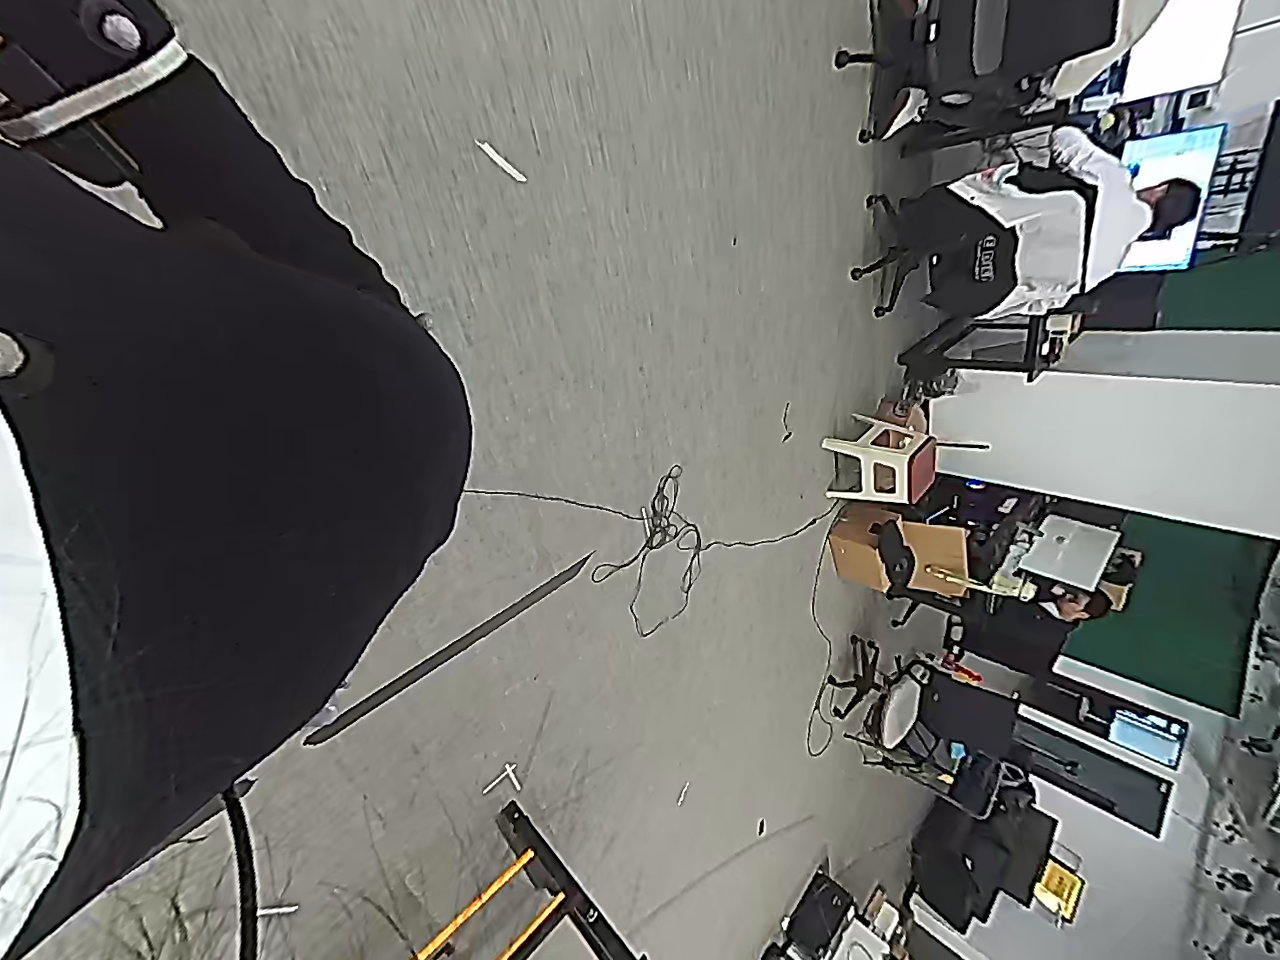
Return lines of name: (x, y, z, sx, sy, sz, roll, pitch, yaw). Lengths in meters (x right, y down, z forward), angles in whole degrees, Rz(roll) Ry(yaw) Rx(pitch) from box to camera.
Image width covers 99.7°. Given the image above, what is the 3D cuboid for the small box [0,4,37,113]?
small box: (-0.742, -0.467, 0.518, 0.179, 0.176, 0.168, -30, 122, -36)
